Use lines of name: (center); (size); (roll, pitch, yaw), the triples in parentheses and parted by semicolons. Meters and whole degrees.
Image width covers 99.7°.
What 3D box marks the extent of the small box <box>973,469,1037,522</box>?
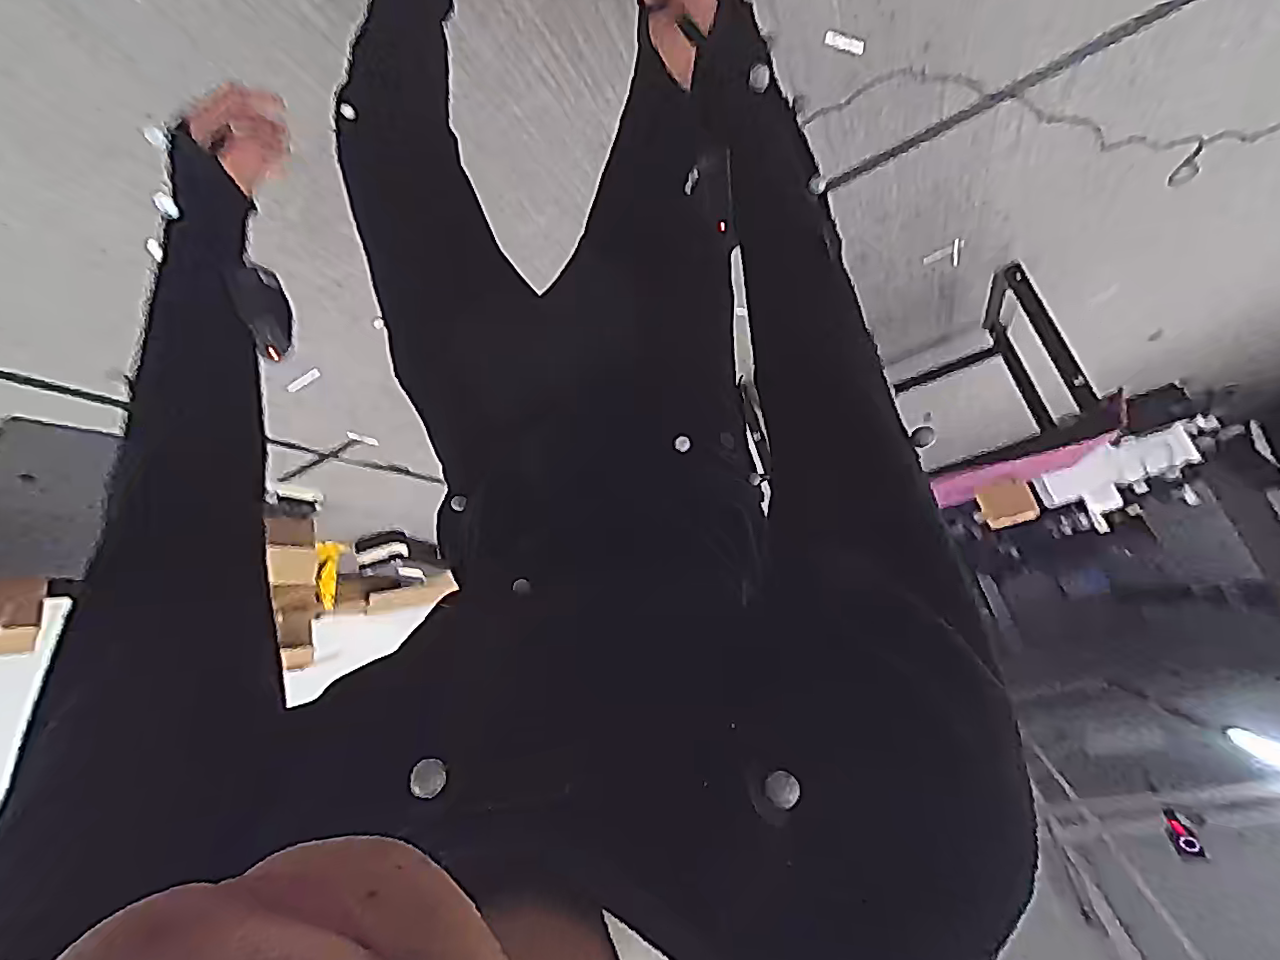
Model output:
small box: (1.533, 0.065, 2.280); (0.168, 0.176, 0.179); (-21, 160, 22)
